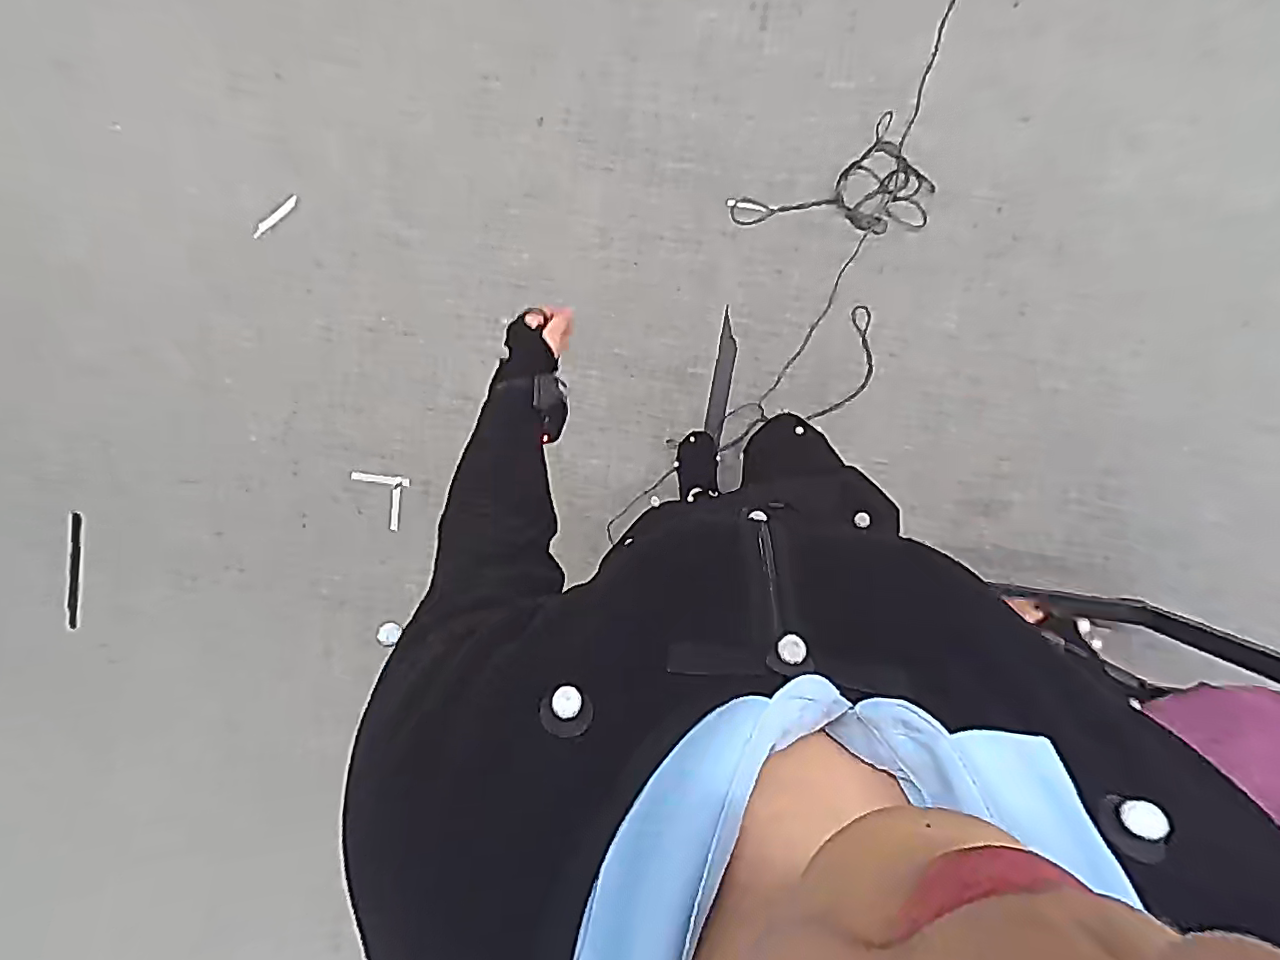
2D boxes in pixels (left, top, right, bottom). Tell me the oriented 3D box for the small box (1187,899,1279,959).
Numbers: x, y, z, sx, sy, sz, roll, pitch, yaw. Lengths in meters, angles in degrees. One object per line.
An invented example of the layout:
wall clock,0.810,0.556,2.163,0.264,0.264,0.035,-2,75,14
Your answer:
small box,0.856,0.687,0.687,0.168,0.176,0.179,9,96,4
